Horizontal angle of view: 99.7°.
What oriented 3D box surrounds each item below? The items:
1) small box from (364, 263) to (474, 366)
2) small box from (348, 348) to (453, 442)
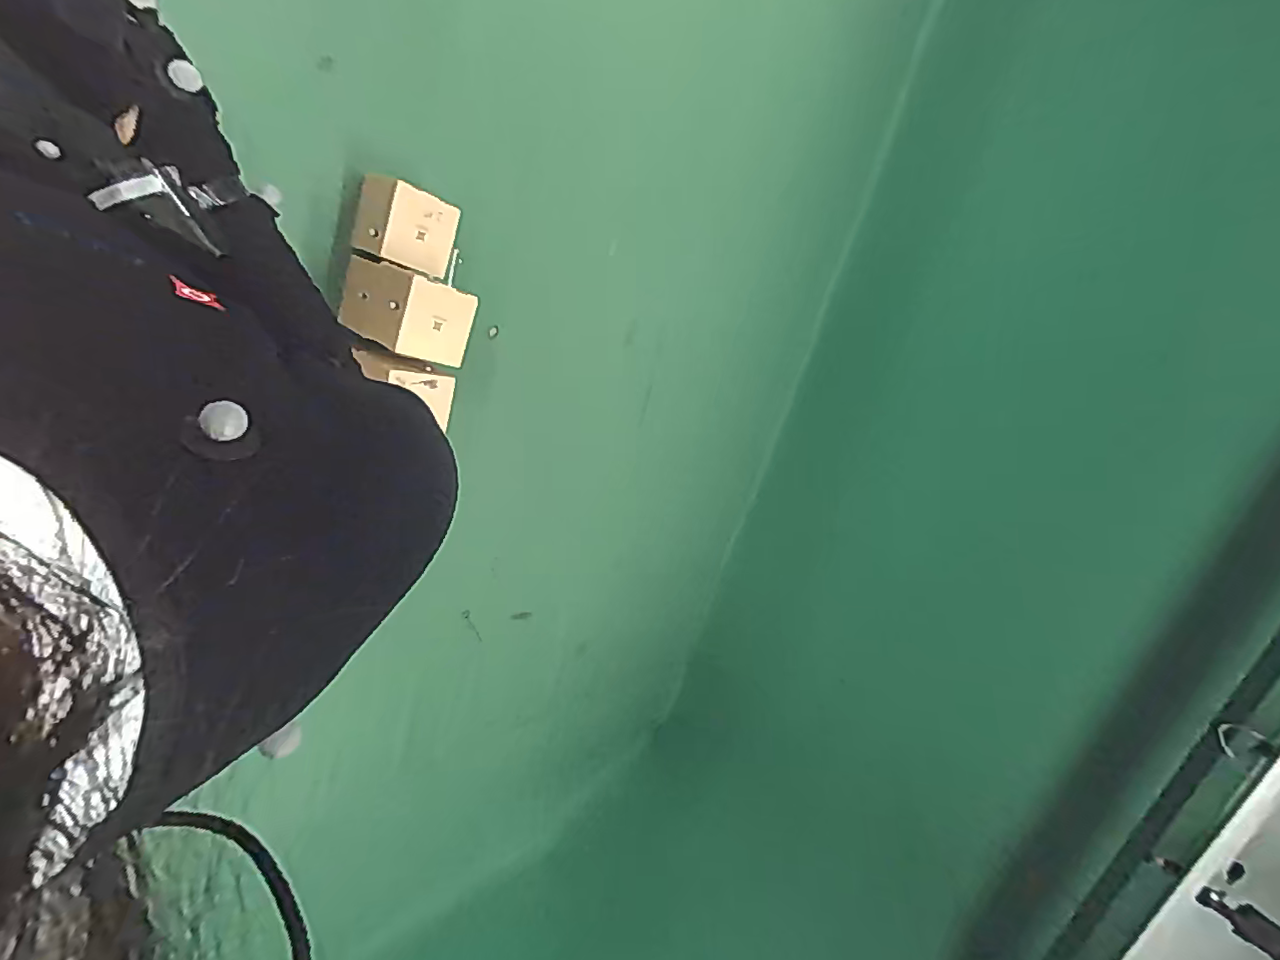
[{"bbox_3d":[-0.528,-0.392,1.281,0.168,0.176,0.179,6,107,-52],"label":"small box"},{"bbox_3d":[-0.592,-0.206,1.325,0.168,0.176,0.179,-2,116,-52],"label":"small box"}]
